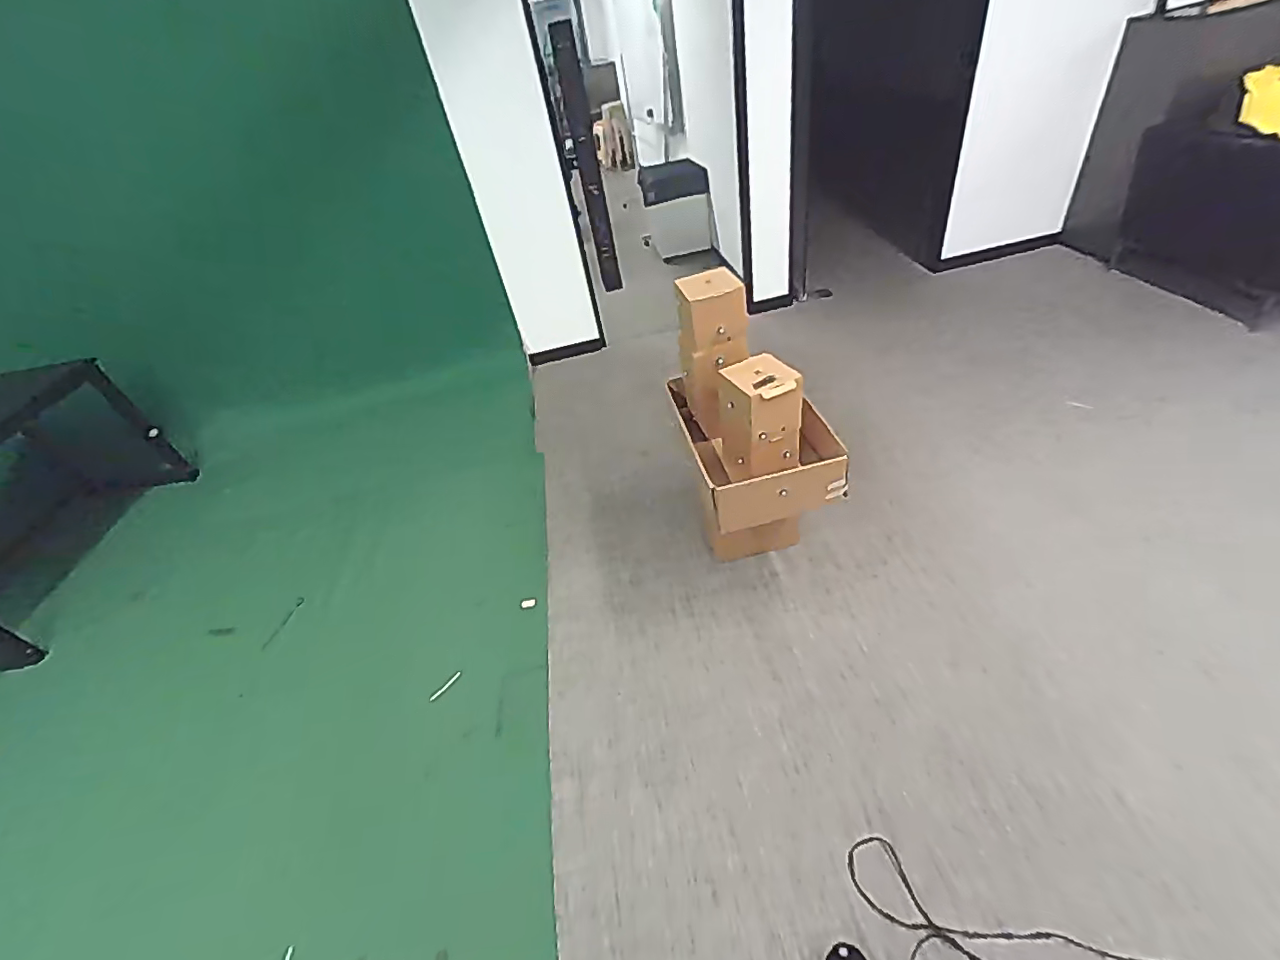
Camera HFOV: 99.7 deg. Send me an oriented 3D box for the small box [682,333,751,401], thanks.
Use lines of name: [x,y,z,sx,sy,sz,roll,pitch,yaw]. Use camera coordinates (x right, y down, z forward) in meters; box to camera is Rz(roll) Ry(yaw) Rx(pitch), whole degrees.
small box: [0.246,-0.380,1.733,0.179,0.176,0.168,-18,41,-4]

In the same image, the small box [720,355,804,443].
small box: [0.344,-0.225,1.533,0.168,0.176,0.179,-22,40,-12]

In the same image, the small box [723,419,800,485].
small box: [0.369,-0.105,1.641,0.168,0.176,0.179,-22,41,-12]

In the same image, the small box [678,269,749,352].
small box: [0.222,-0.510,1.633,0.168,0.176,0.179,-16,42,-2]
